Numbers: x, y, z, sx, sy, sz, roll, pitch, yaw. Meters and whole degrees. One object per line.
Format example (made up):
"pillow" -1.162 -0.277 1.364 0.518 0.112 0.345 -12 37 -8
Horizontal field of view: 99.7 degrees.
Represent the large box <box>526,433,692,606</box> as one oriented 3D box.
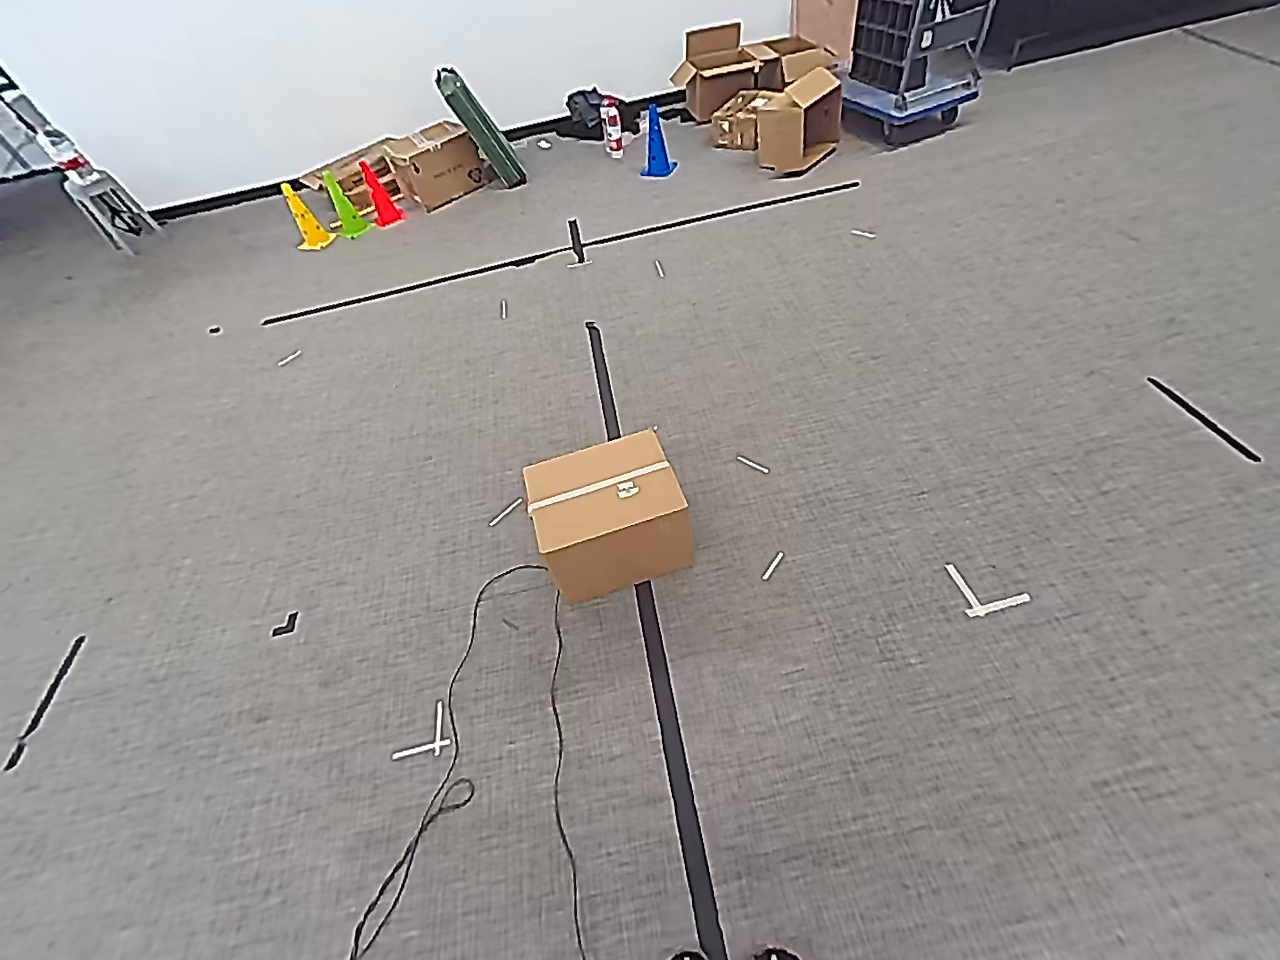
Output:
"large box" -0.086 0.121 1.605 0.408 0.320 0.320 -17 51 -5
